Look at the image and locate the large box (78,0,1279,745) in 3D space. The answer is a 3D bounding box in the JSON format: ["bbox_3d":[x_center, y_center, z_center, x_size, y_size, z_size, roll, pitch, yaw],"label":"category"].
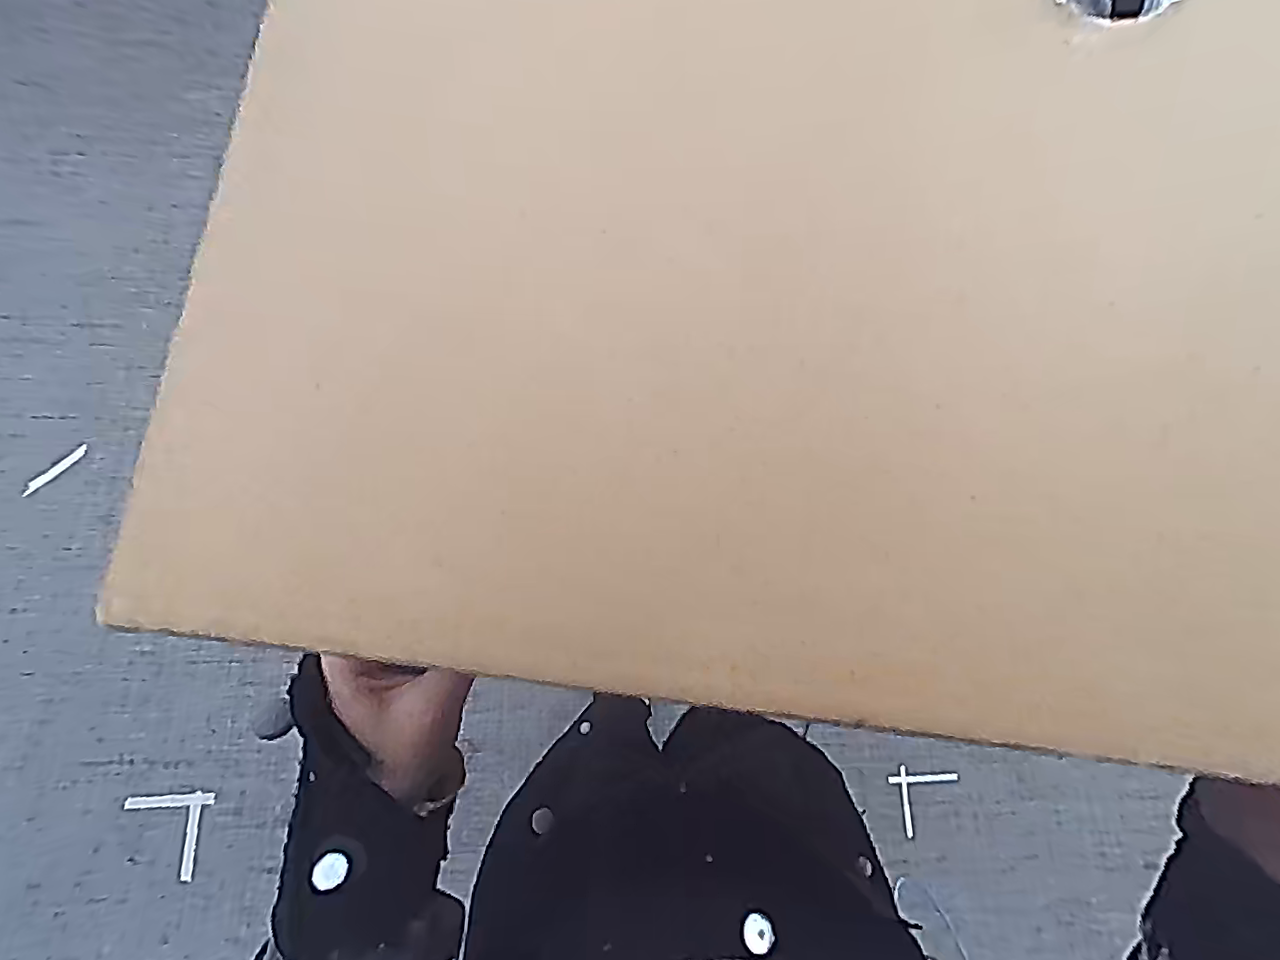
[{"bbox_3d":[0.095,-0.081,0.266,0.408,0.320,0.320,4,82,5],"label":"large box"}]
